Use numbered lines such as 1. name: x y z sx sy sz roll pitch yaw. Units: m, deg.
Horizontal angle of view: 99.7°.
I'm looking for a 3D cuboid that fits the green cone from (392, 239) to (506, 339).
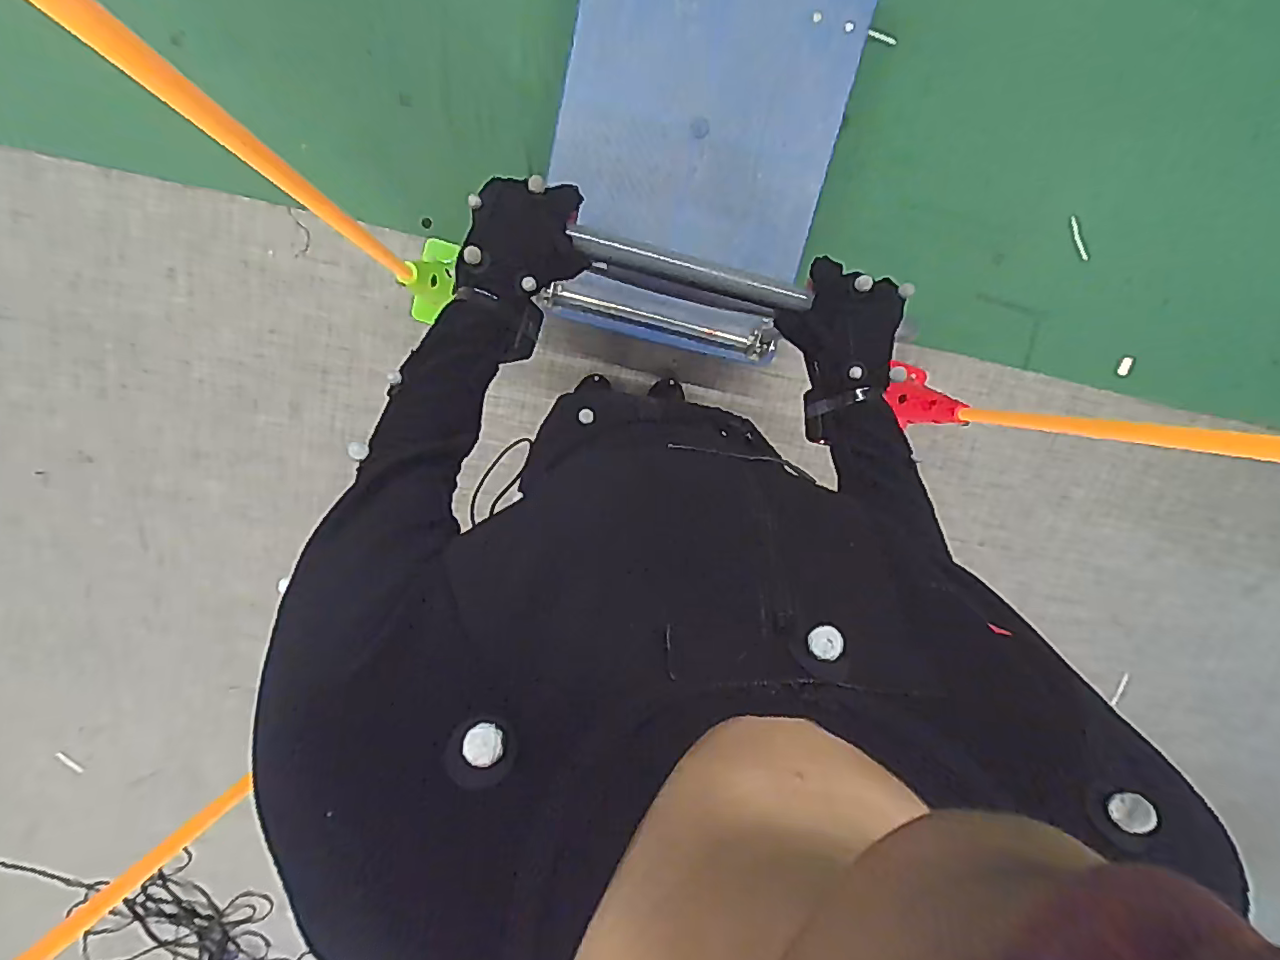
1. green cone: -0.443 -0.434 1.178 0.202 0.368 0.200 16 102 -6
